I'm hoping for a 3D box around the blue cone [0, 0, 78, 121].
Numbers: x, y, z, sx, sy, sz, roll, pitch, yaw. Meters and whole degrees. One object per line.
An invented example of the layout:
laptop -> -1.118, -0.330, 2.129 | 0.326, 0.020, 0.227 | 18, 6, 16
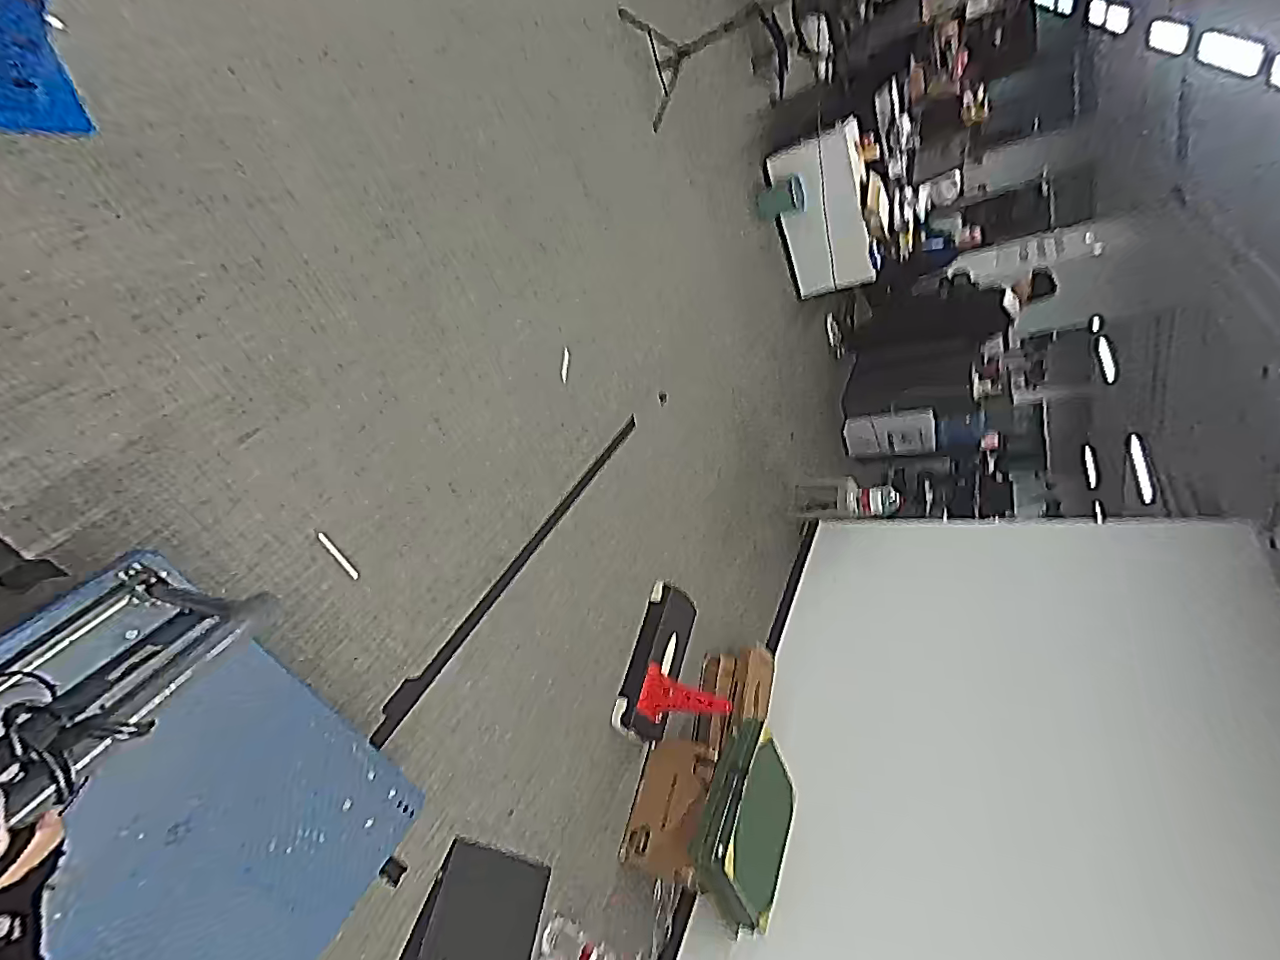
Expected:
blue cone -> -0.992, -0.738, 0.835 | 0.193, 0.380, 0.192 | -35, 115, -50
